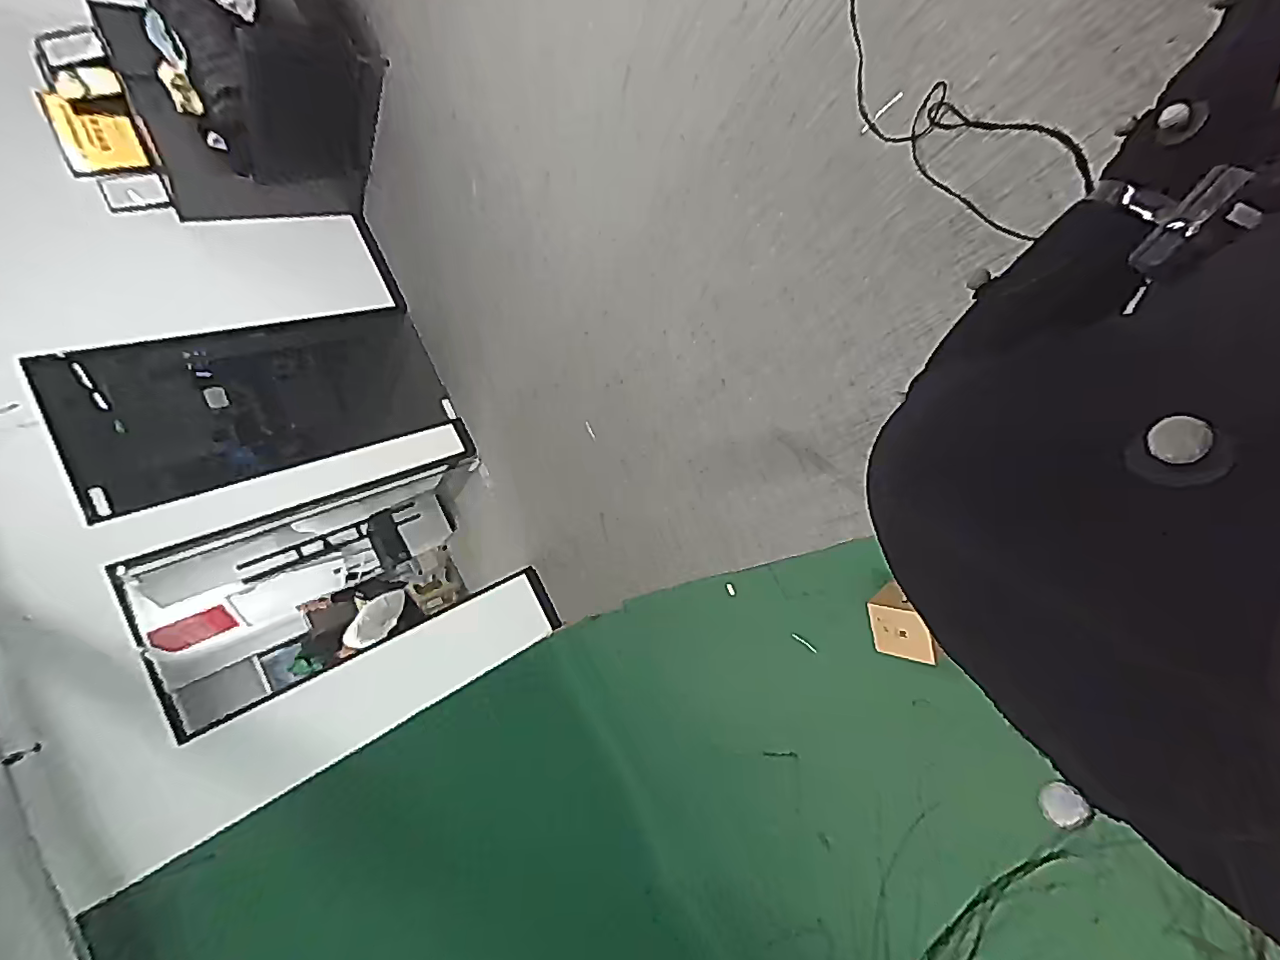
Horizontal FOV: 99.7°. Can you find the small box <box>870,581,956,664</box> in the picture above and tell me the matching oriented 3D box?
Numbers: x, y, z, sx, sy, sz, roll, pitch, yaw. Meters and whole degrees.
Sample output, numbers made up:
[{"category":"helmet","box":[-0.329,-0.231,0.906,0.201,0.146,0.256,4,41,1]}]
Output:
[{"category":"small box","box":[0.819,0.415,1.610,0.179,0.176,0.168,0,108,52]}]
